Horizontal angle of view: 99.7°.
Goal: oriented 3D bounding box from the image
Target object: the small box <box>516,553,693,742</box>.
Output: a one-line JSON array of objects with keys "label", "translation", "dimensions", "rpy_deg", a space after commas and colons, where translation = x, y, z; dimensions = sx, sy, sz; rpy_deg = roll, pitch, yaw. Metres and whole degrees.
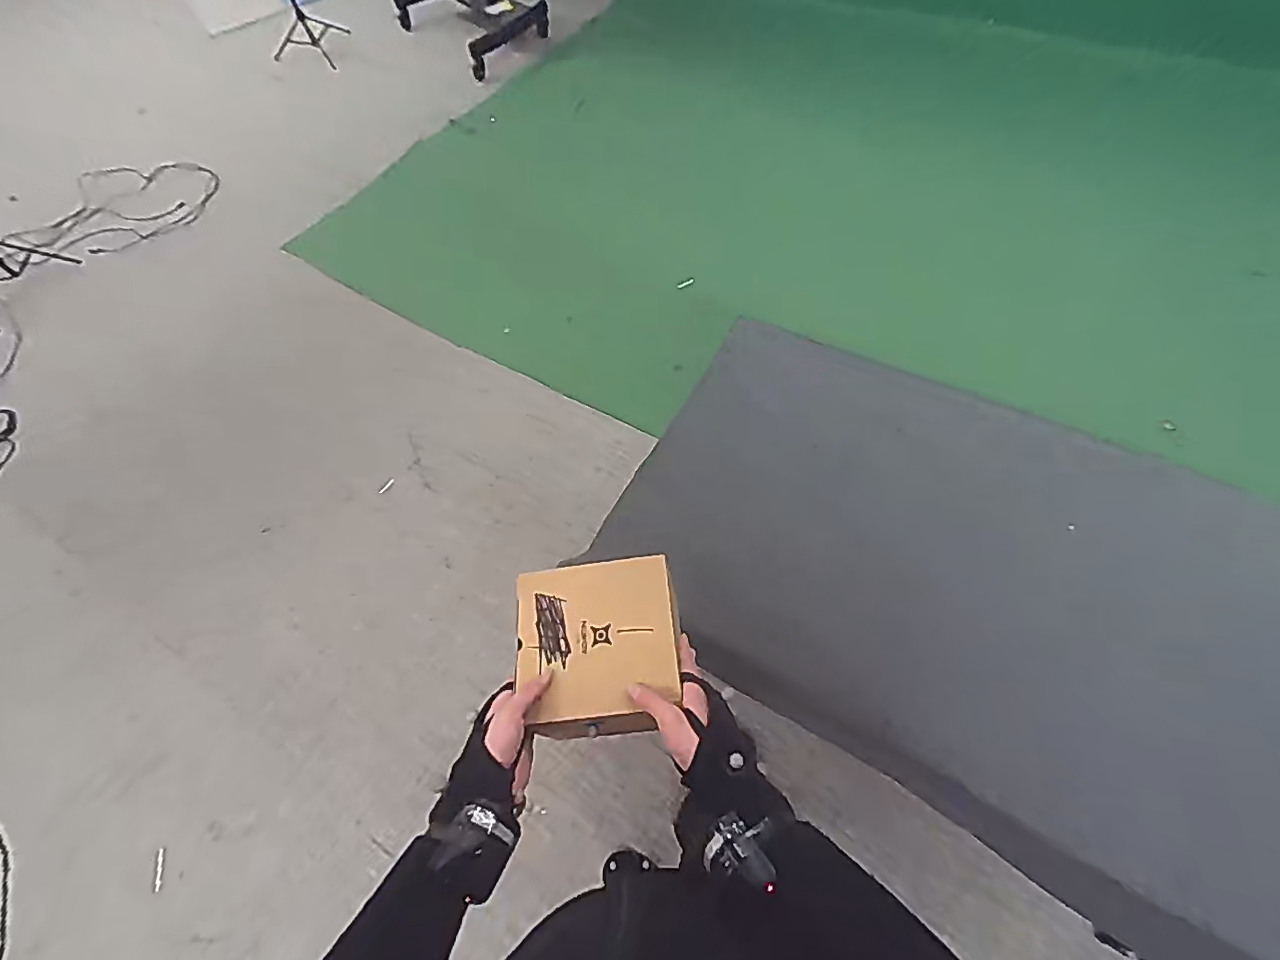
[{"label": "small box", "translation": [-0.034, 0.202, 0.631], "dimensions": [0.179, 0.176, 0.168], "rpy_deg": [-6, 59, 1]}]
